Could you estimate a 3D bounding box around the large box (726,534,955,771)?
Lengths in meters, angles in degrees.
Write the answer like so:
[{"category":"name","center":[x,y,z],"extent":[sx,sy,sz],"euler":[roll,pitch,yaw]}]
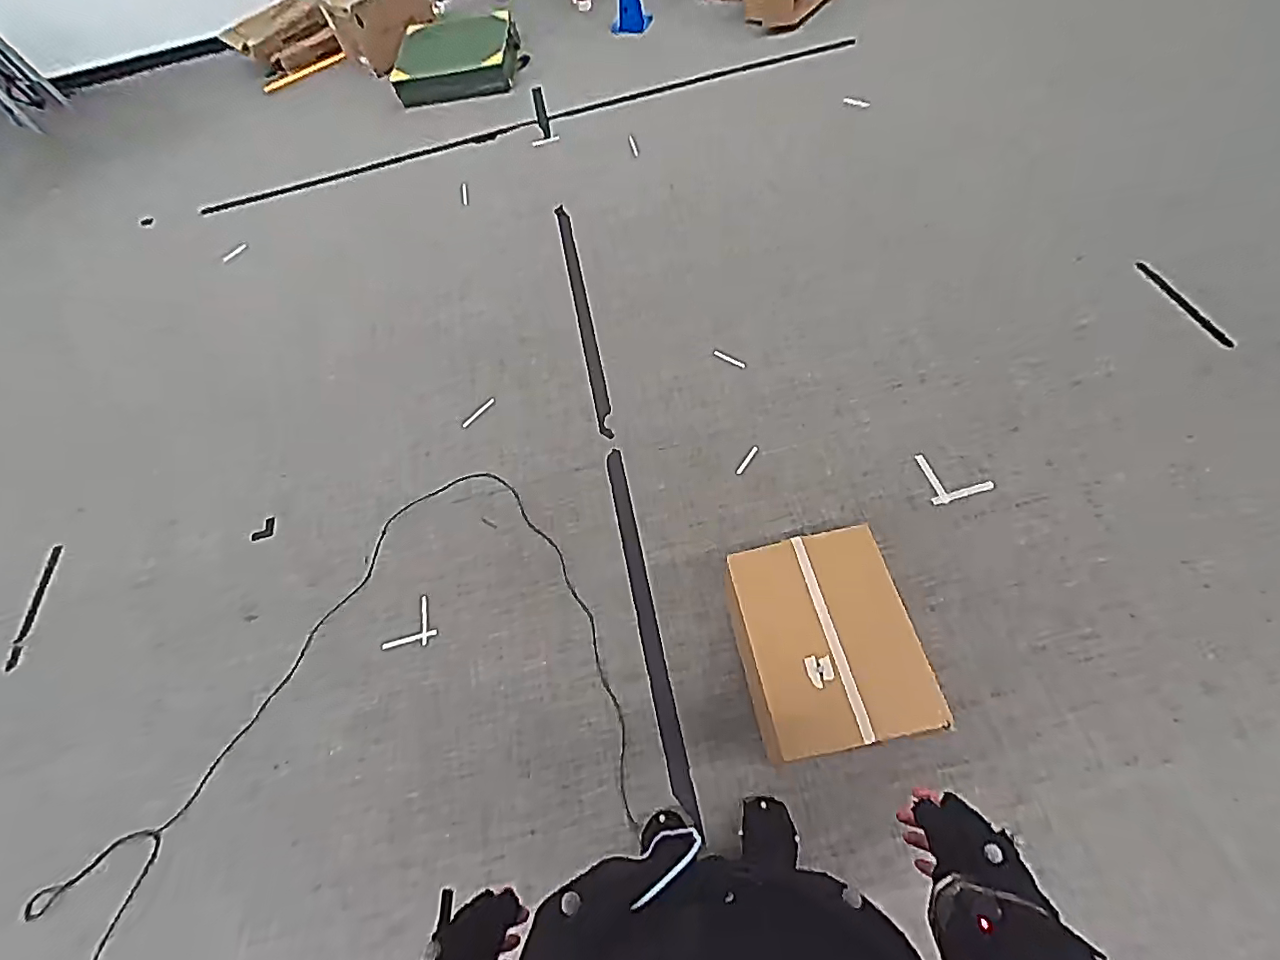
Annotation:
[{"category":"large box","center":[0.392,0.385,1.189],"extent":[0.320,0.320,0.408],"euler":[-14,60,2]}]
